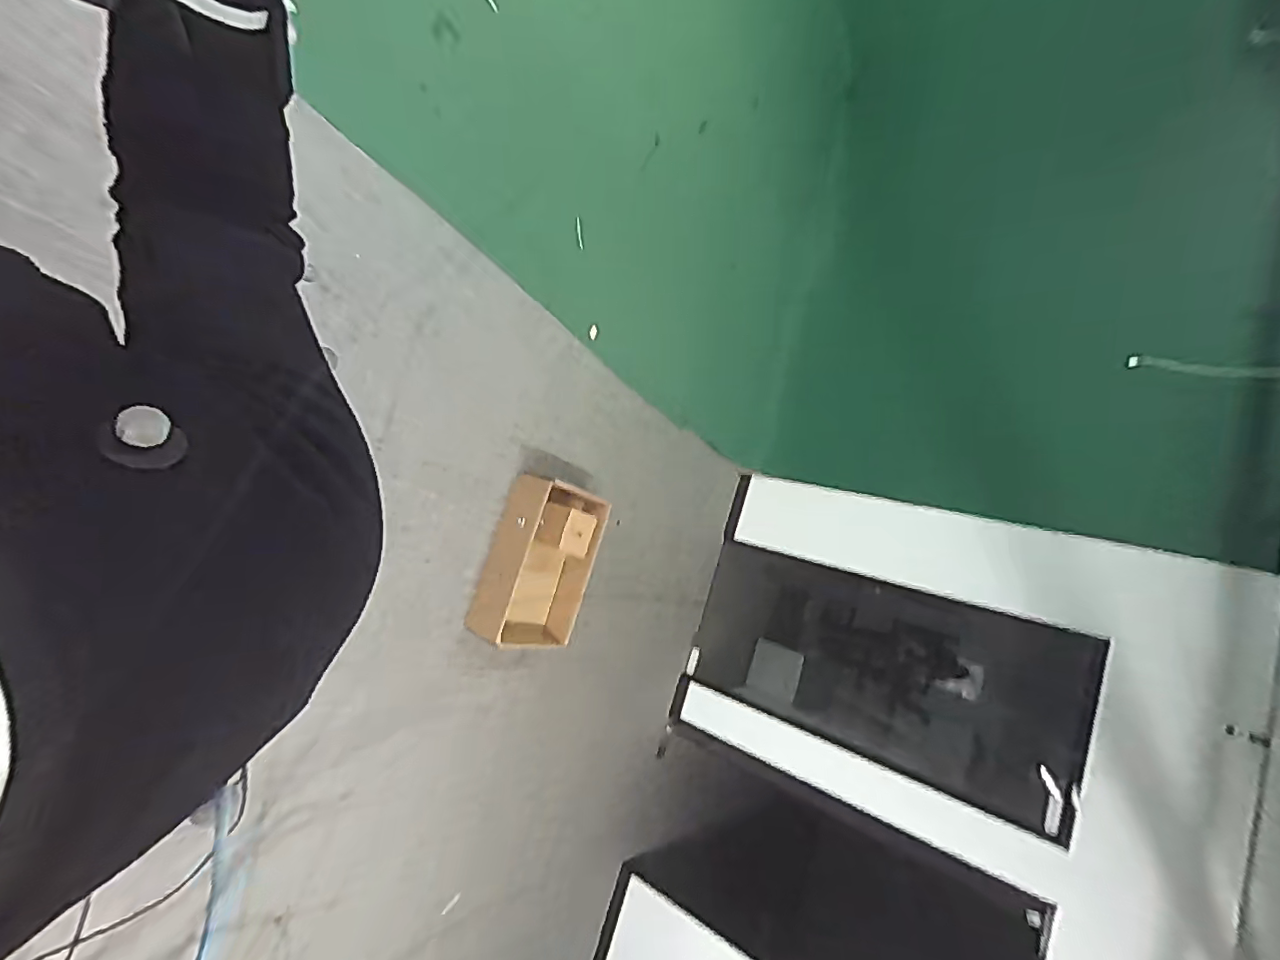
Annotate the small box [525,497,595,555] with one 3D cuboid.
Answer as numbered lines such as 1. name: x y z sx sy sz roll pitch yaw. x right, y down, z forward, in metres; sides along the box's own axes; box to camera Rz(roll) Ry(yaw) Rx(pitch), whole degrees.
1. small box: -0.312 0.177 2.105 0.179 0.176 0.168 31 76 -56
